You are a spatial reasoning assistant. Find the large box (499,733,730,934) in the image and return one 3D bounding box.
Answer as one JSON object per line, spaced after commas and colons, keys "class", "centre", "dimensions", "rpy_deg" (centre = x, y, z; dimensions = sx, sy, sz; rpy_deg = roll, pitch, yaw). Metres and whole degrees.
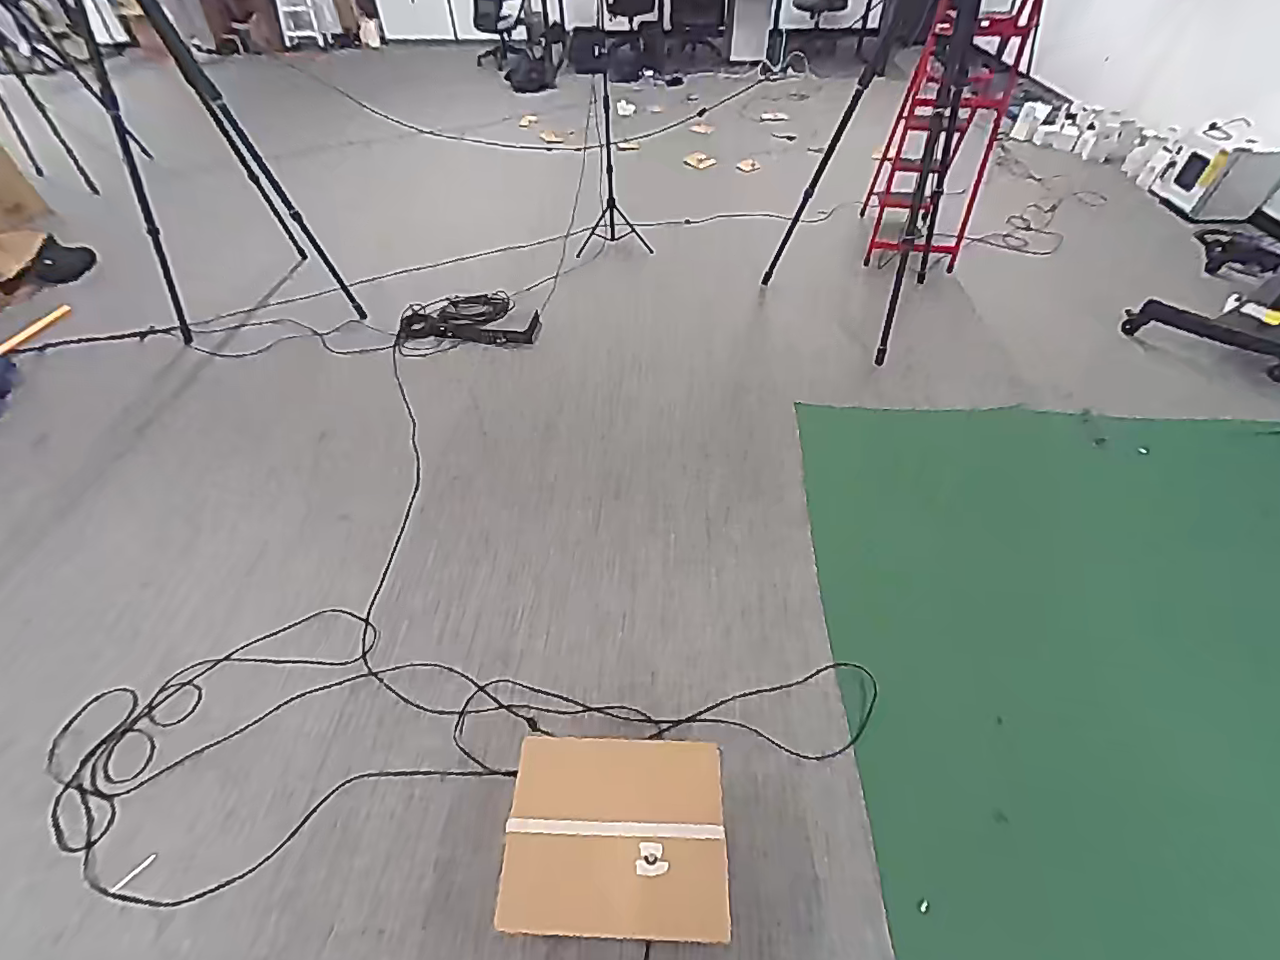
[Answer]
{"class": "large box", "centre": [-0.042, 0.737, 1.123], "dimensions": [0.408, 0.320, 0.320], "rpy_deg": [1, 50, 2]}
